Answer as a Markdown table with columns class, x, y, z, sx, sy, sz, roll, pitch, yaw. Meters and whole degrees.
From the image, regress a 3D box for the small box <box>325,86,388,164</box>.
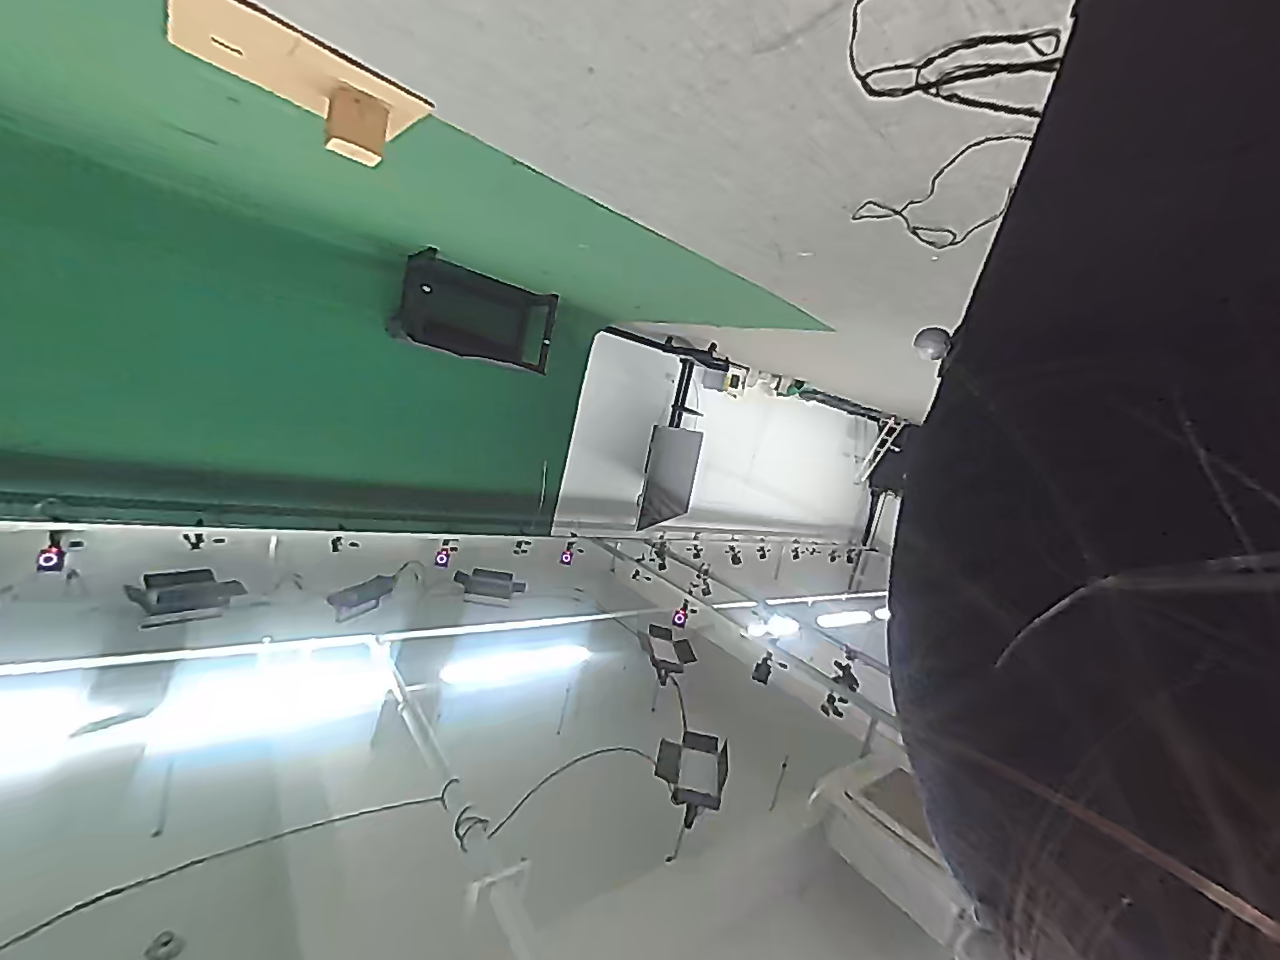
| class | x | y | z | sx | sy | sz | roll | pitch | yaw |
| --- | --- | --- | --- | --- | --- | --- | --- | --- | --- |
| small box | -1.034 | -1.291 | 1.974 | 0.168 | 0.176 | 0.179 | 5 | -169 | -41 |
